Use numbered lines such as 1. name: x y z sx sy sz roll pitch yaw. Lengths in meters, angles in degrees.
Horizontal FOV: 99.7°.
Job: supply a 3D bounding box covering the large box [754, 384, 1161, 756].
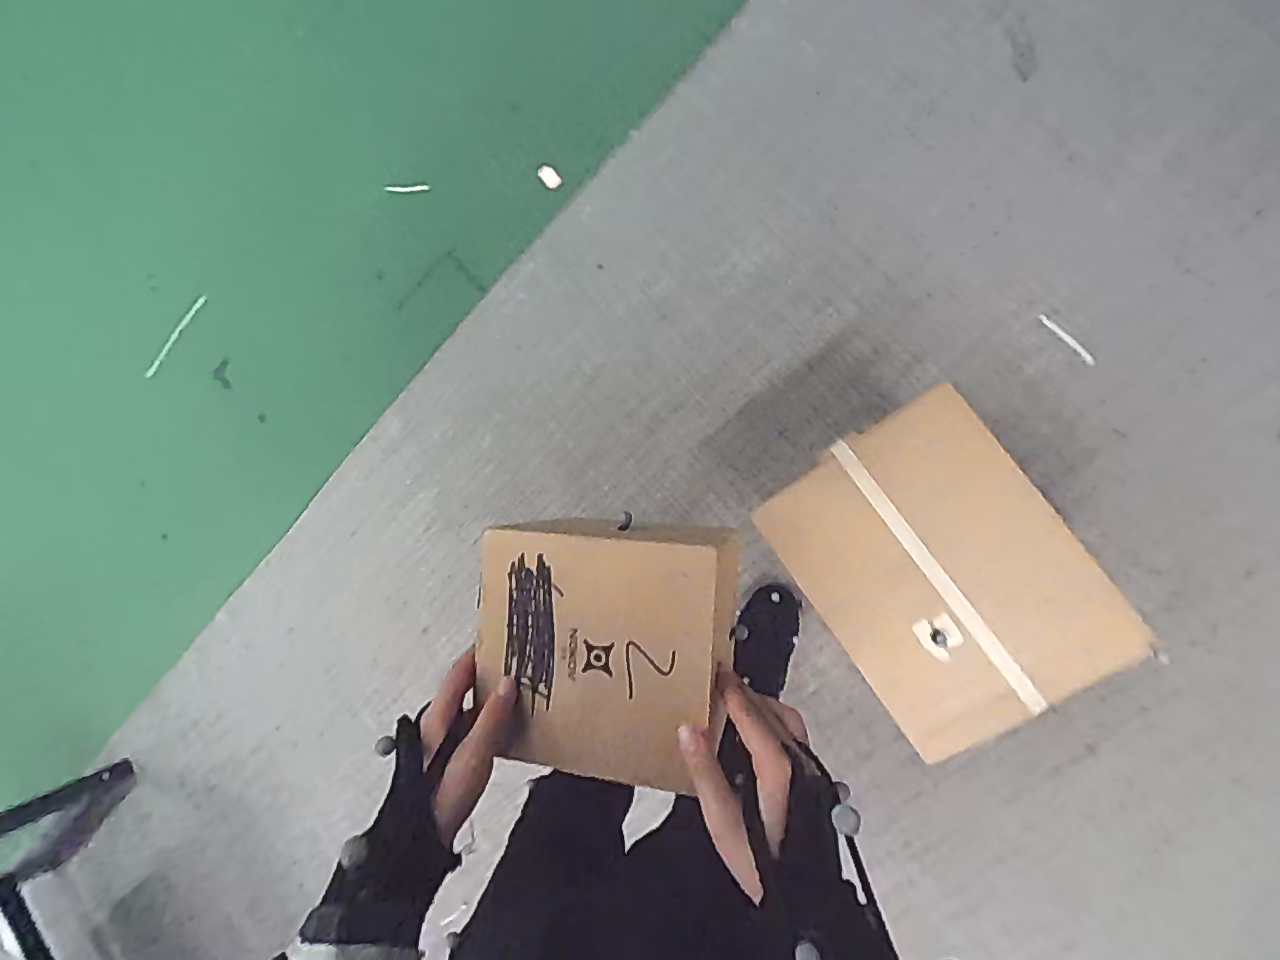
1. large box: 0.429 0.115 0.847 0.320 0.320 0.408 -37 82 15
